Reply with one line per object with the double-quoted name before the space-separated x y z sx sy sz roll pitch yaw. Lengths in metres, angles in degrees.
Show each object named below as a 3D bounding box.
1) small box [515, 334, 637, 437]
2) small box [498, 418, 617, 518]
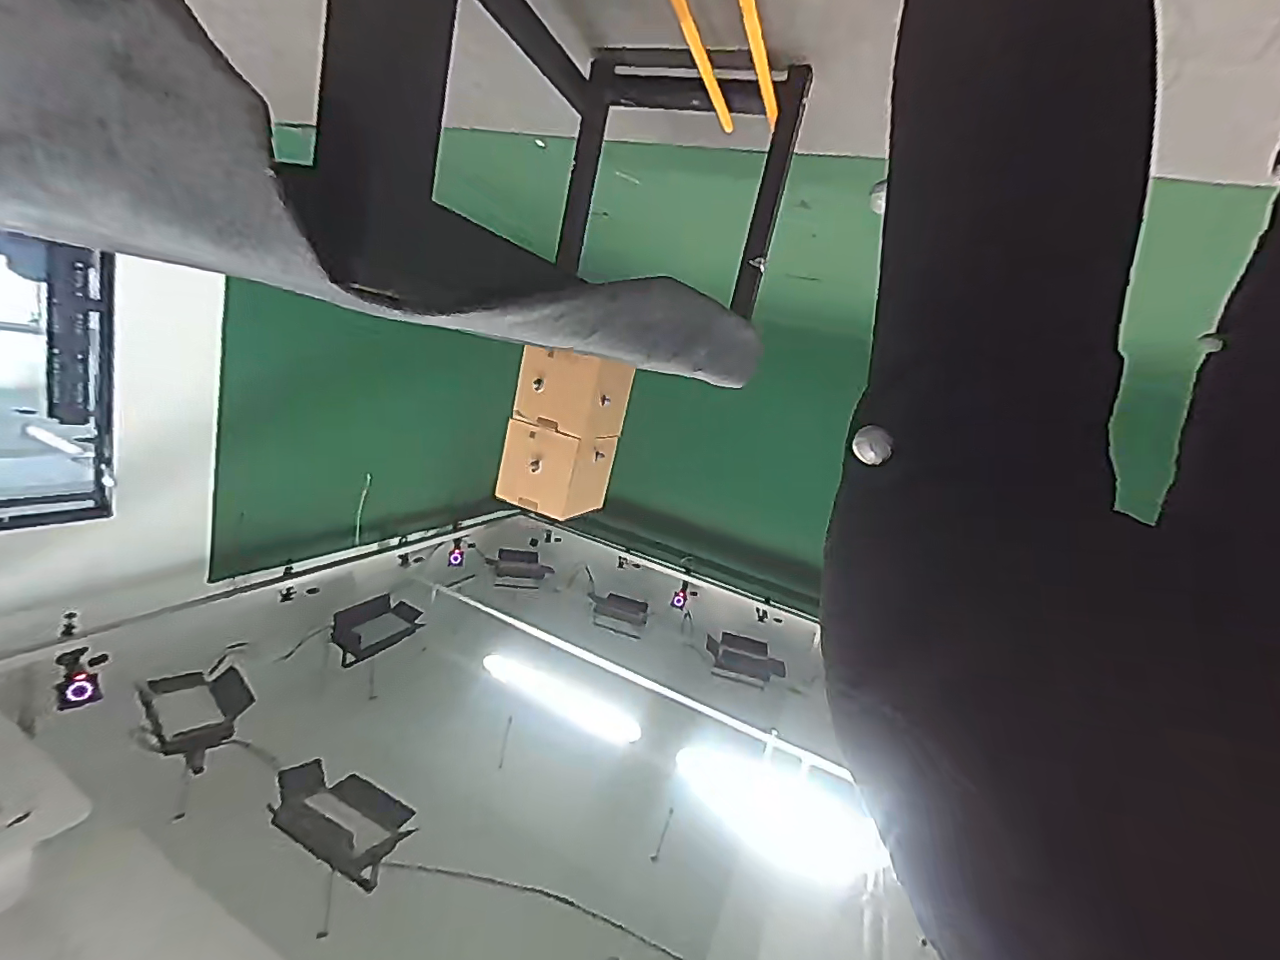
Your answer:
"small box" -0.124 -0.189 1.082 0.168 0.176 0.179 18 -167 19
"small box" -0.166 -0.035 1.119 0.168 0.176 0.179 18 -168 20
